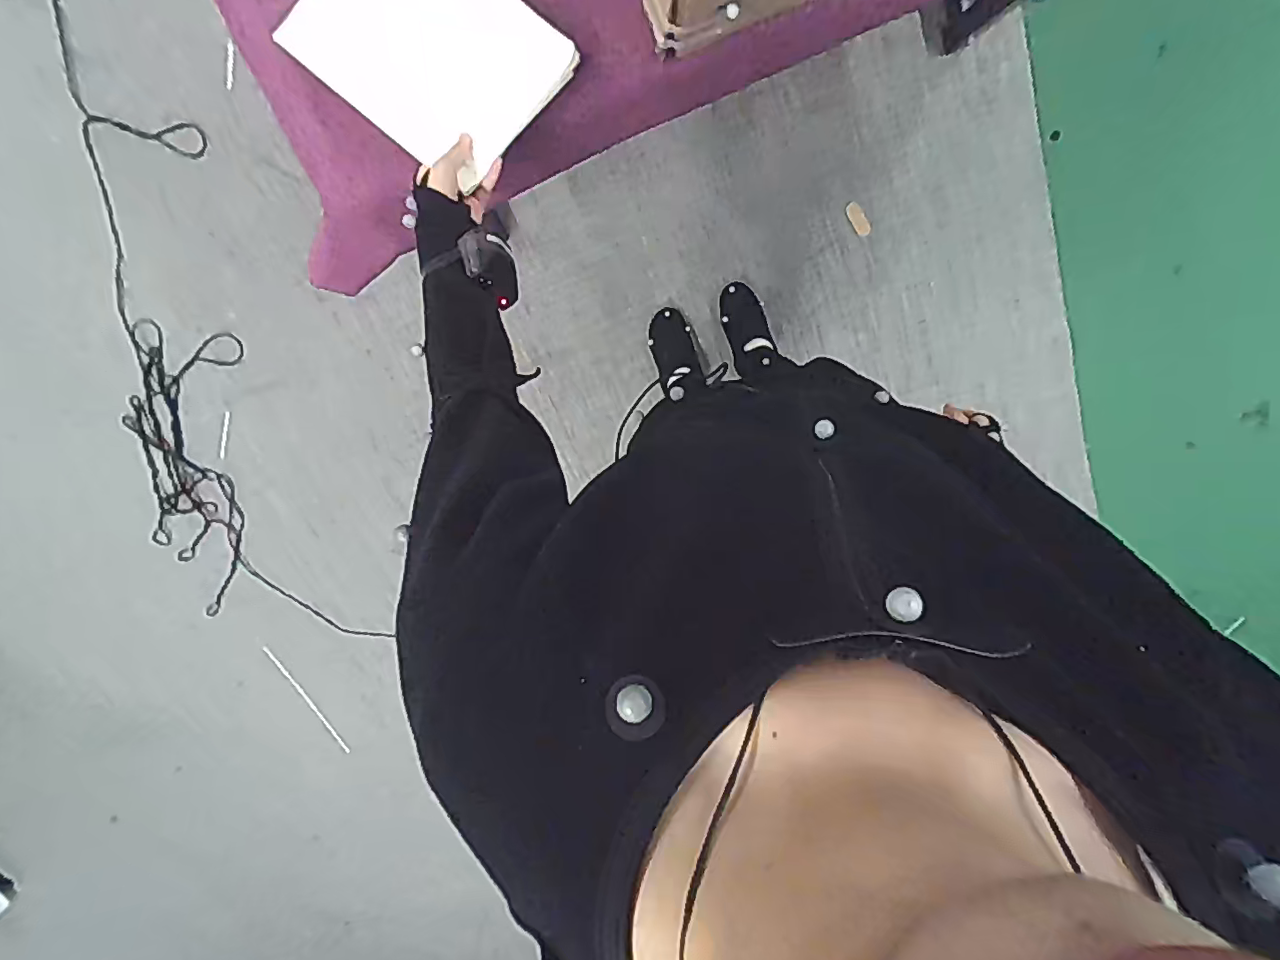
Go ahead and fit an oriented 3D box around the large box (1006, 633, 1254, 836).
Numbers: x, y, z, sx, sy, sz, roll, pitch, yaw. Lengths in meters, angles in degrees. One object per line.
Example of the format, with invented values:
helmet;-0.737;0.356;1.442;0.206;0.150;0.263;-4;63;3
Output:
large box;1.431;0.746;1.615;0.408;0.320;0.320;-36;105;9
